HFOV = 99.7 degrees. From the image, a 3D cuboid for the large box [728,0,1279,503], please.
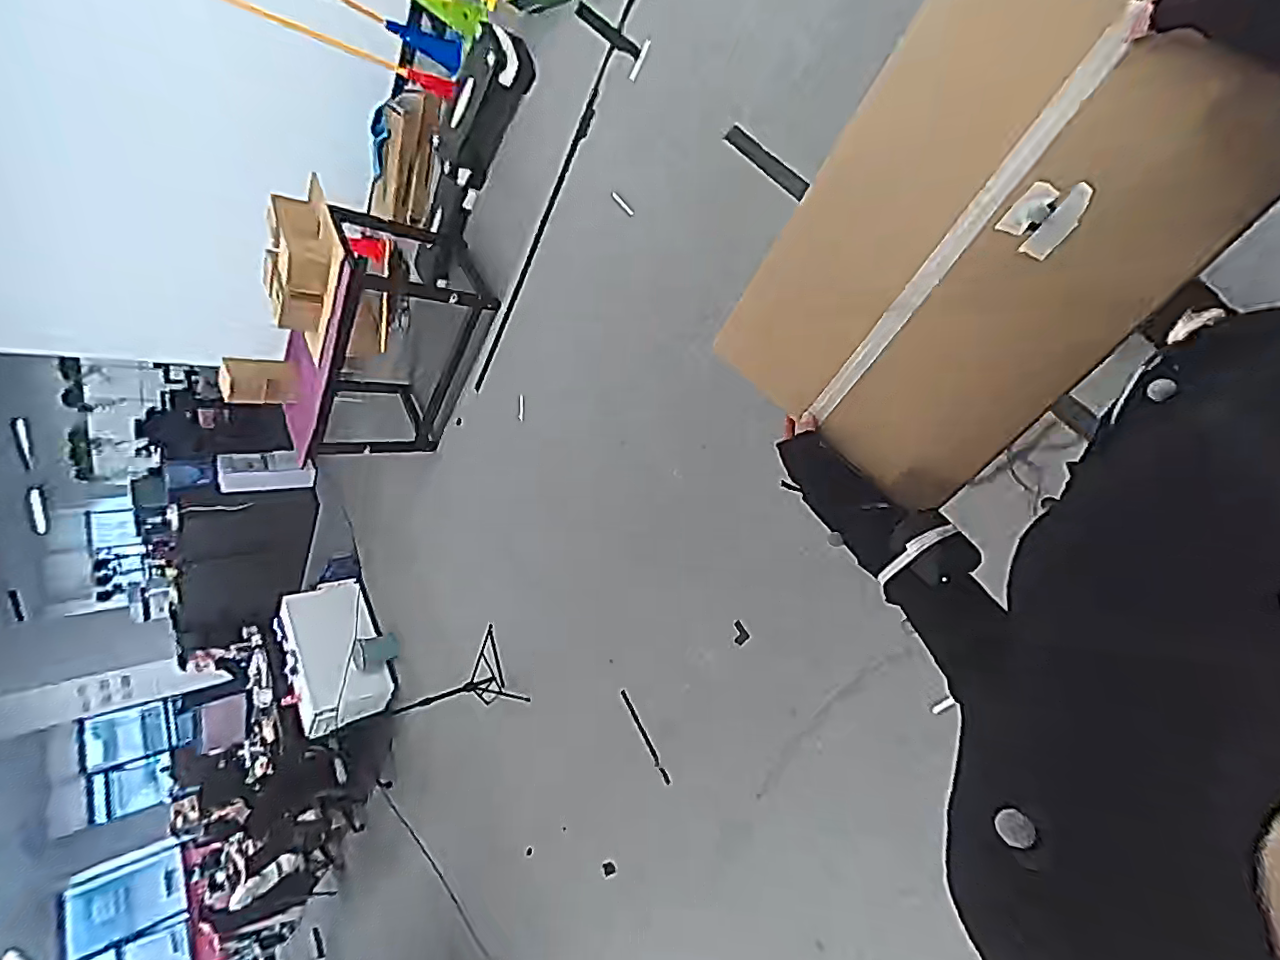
[{"bbox_3d":[0.384,-0.240,0.631,0.320,0.320,0.408,47,125,21],"label":"large box"}]
